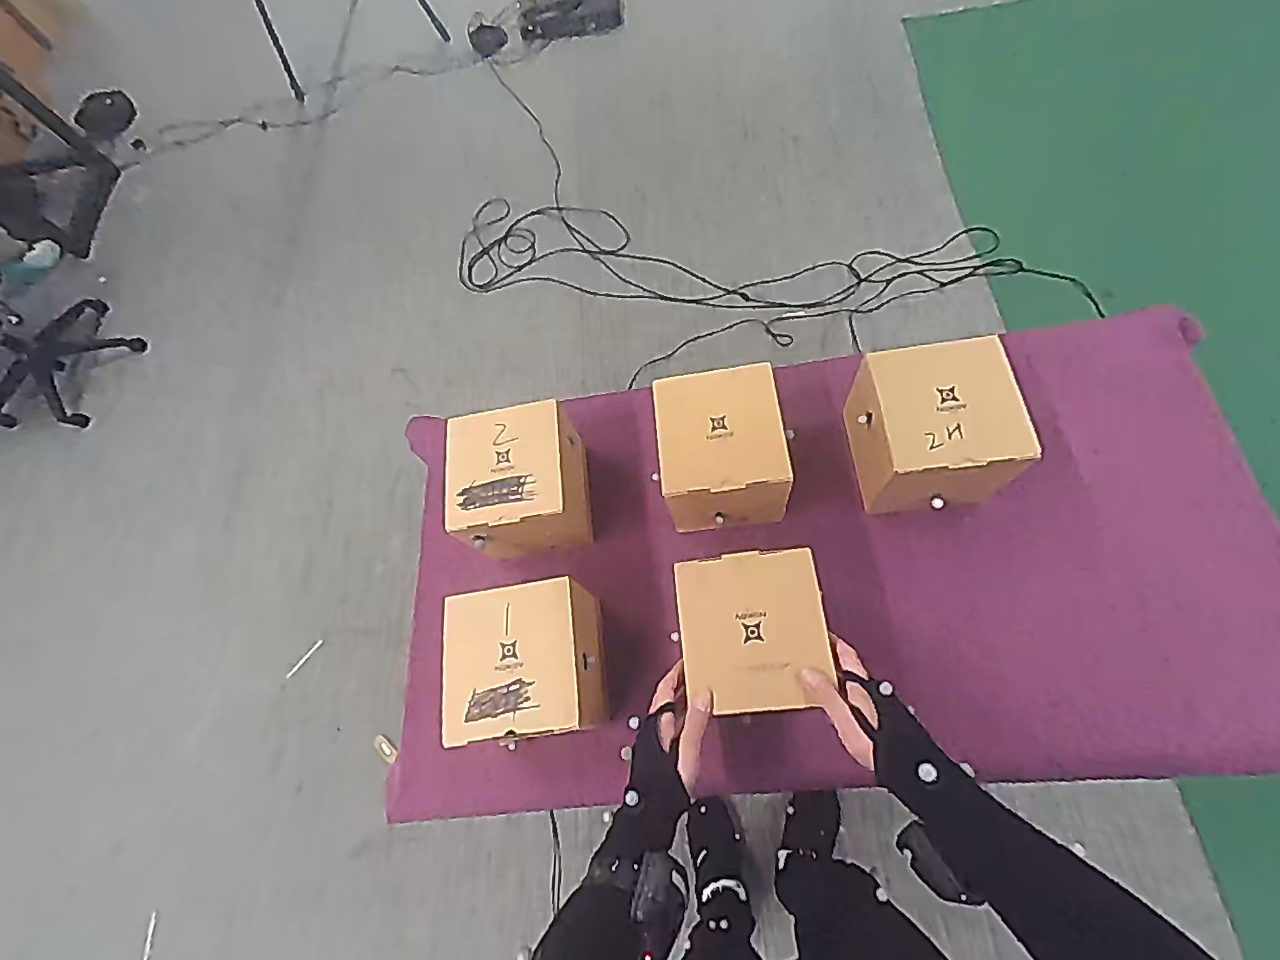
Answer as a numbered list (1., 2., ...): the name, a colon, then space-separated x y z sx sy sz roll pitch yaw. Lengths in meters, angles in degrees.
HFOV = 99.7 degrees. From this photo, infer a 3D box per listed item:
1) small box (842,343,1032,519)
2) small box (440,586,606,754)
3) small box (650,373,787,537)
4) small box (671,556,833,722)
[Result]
1. small box: 0.388 -0.059 0.746 0.168 0.176 0.179 -7 68 9
2. small box: -0.147 0.255 0.721 0.168 0.176 0.179 -11 65 6
3. small box: 0.112 -0.029 0.791 0.168 0.176 0.179 -8 68 8
4. small box: 0.134 0.209 0.690 0.168 0.176 0.179 -8 67 8
